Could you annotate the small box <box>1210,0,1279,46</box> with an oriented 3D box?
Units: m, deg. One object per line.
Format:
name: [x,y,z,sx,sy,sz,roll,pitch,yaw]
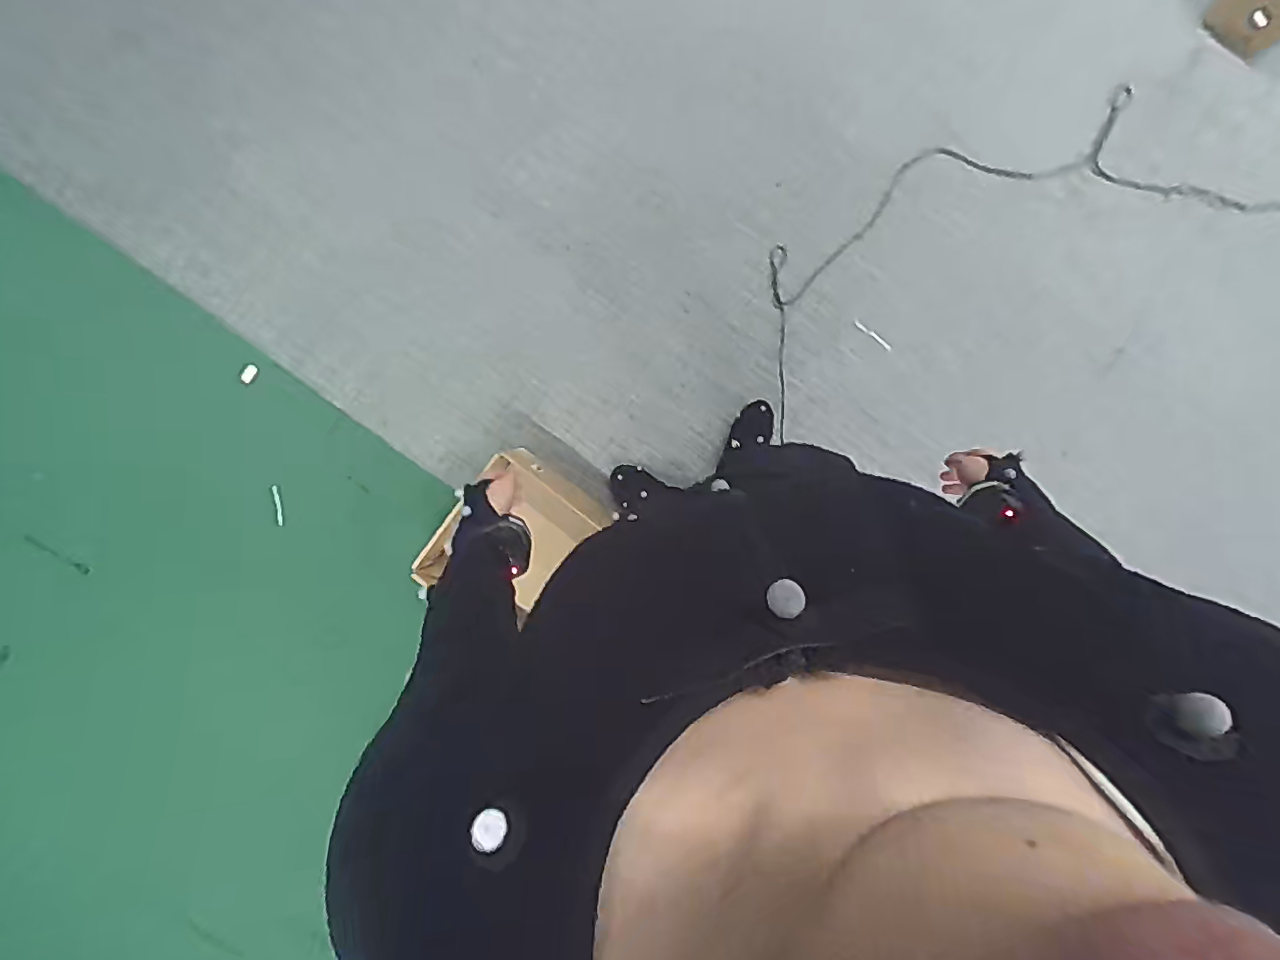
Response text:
small box: [1.444,-1.127,1.196,0.168,0.176,0.179,33,98,-2]
